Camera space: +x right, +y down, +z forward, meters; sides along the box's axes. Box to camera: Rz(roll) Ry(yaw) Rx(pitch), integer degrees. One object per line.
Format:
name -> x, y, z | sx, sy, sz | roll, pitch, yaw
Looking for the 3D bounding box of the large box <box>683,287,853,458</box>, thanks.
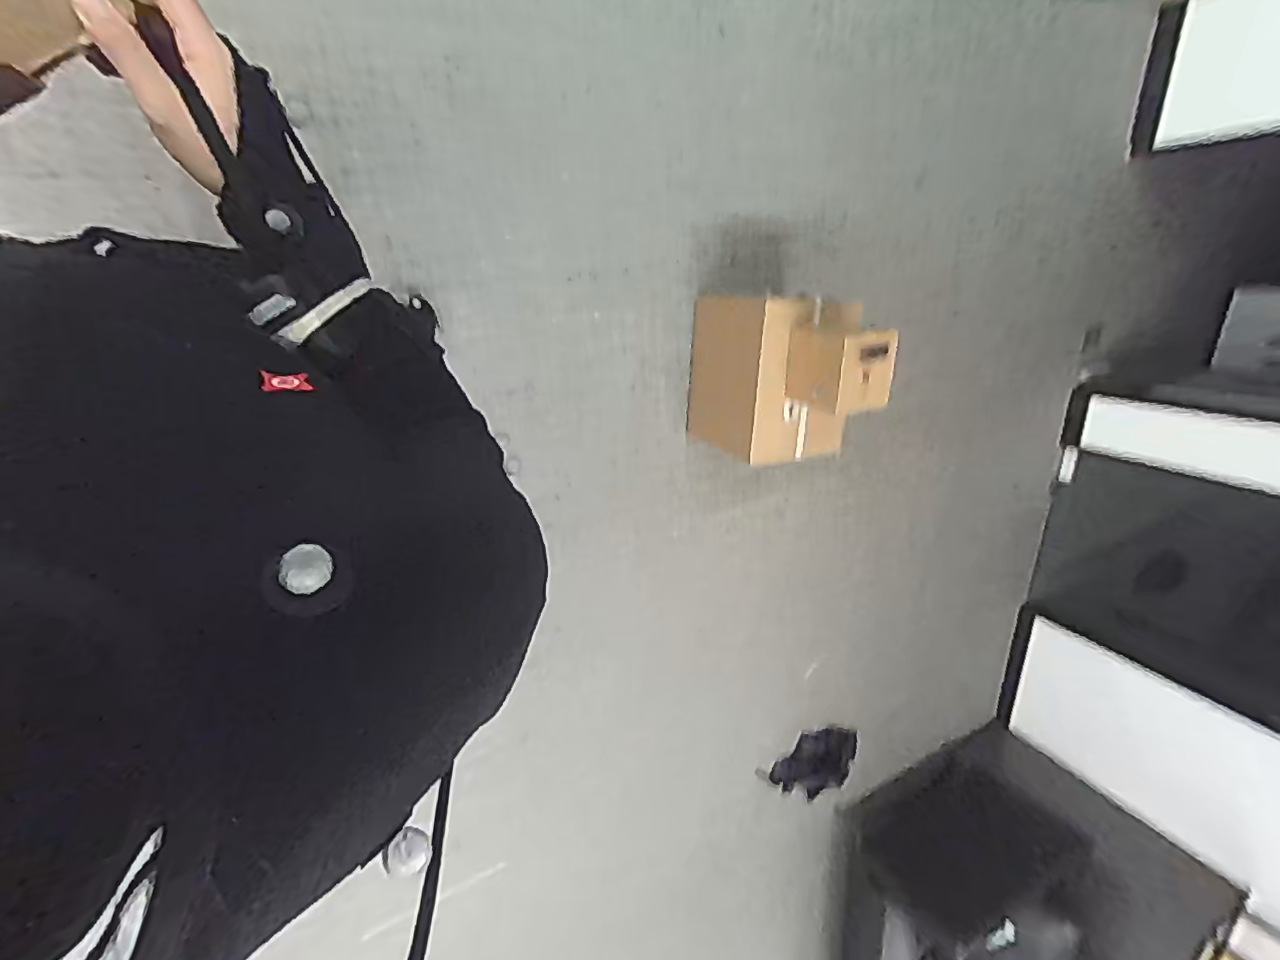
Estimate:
large box -> 0.331, -0.312, 1.491 | 0.320, 0.320, 0.408 | -8, 114, -25
